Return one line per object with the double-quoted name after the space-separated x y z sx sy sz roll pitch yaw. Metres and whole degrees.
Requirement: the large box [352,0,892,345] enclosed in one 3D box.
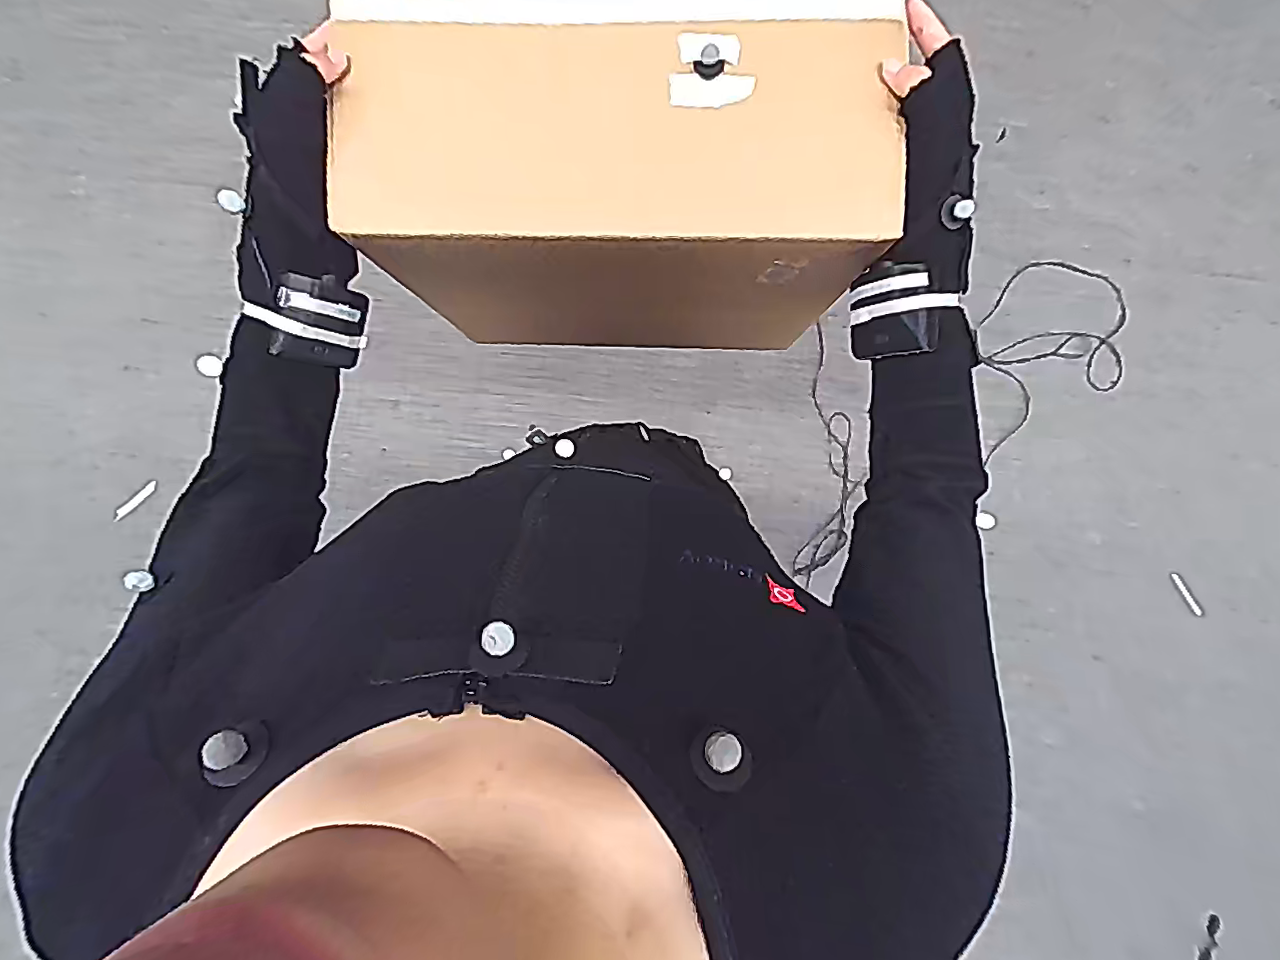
-0.013 -0.331 0.548 0.408 0.320 0.320 1 90 1 "large box"
